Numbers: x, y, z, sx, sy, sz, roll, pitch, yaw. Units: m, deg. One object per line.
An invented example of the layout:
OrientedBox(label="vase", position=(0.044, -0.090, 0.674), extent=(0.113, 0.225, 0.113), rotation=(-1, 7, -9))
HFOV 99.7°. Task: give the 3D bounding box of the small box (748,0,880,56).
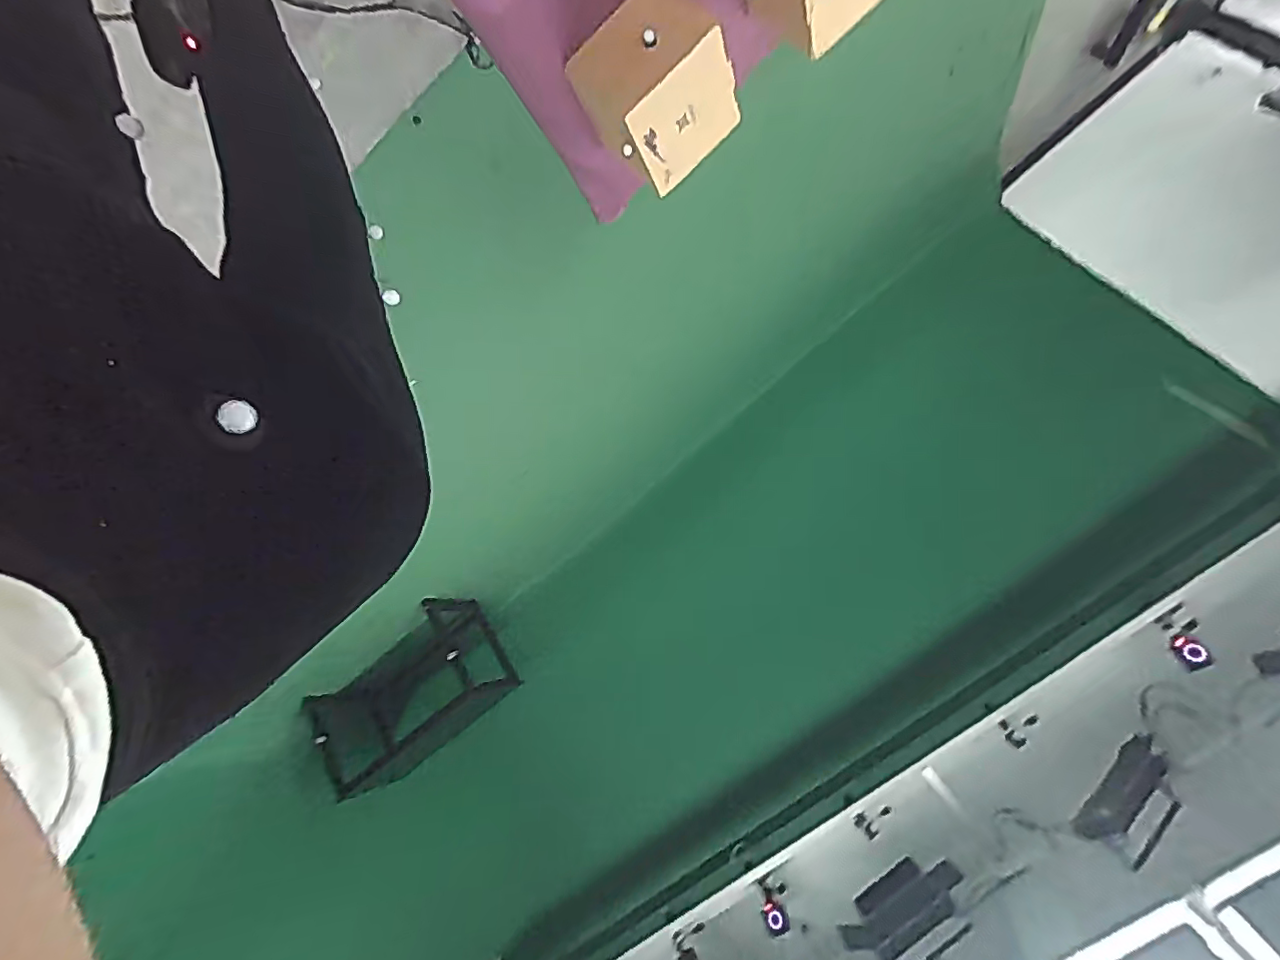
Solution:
OrientedBox(label="small box", position=(0.269, -0.797, 0.796), extent=(0.179, 0.176, 0.168), rotation=(-39, 156, 9))

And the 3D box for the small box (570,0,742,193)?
OrientedBox(label="small box", position=(0.026, -0.601, 0.834), extent=(0.179, 0.176, 0.168), rotation=(-42, 156, 7))
